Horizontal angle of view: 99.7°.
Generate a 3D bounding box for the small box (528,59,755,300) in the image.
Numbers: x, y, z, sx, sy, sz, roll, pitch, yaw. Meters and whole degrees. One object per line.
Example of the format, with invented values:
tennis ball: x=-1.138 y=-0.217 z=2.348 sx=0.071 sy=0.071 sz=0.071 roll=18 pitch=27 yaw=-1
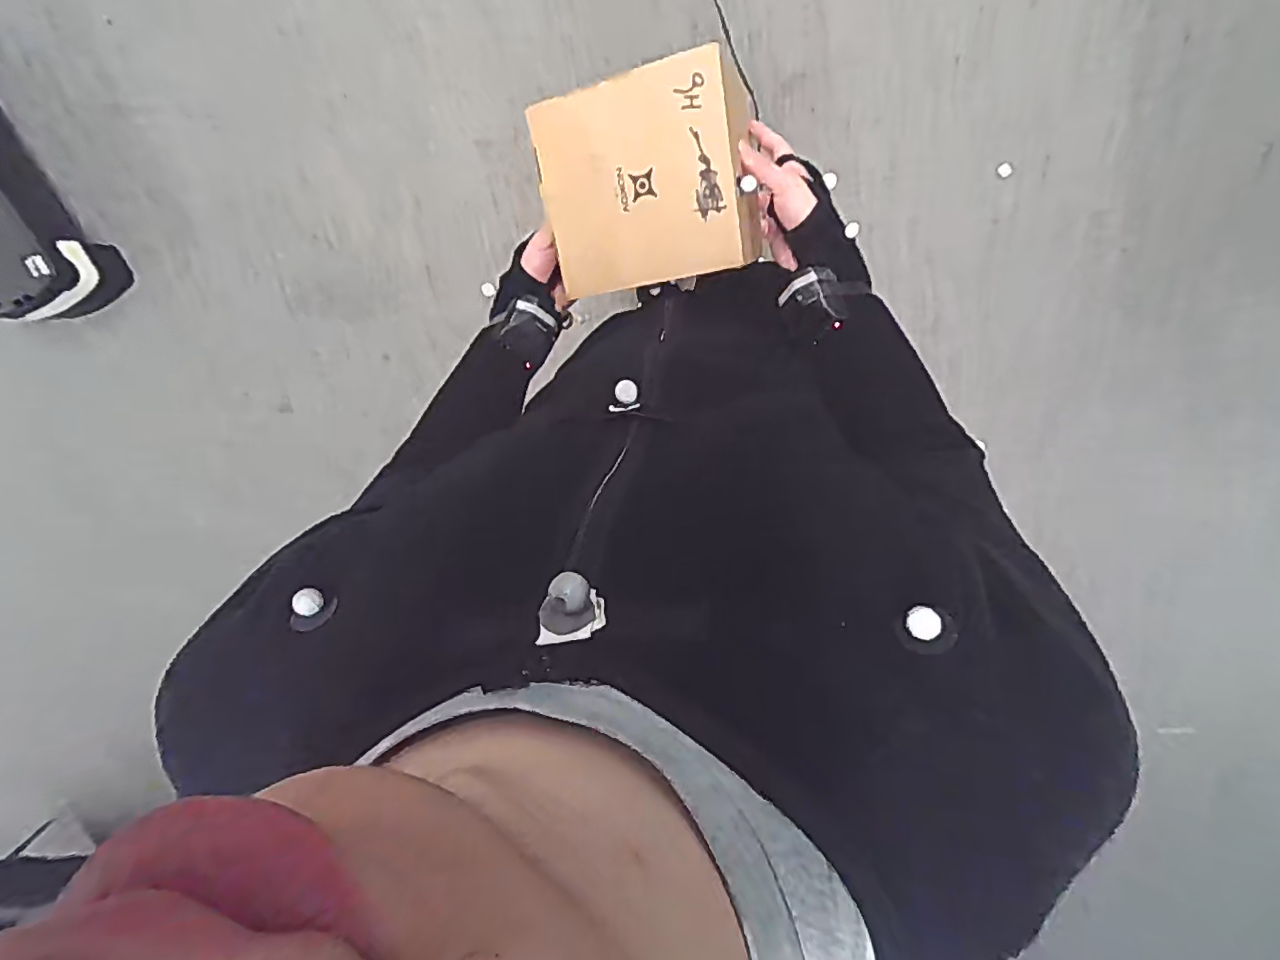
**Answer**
small box: x=0.015 y=-0.282 z=0.547 sx=0.179 sy=0.176 sz=0.168 roll=-2 pitch=112 yaw=18
